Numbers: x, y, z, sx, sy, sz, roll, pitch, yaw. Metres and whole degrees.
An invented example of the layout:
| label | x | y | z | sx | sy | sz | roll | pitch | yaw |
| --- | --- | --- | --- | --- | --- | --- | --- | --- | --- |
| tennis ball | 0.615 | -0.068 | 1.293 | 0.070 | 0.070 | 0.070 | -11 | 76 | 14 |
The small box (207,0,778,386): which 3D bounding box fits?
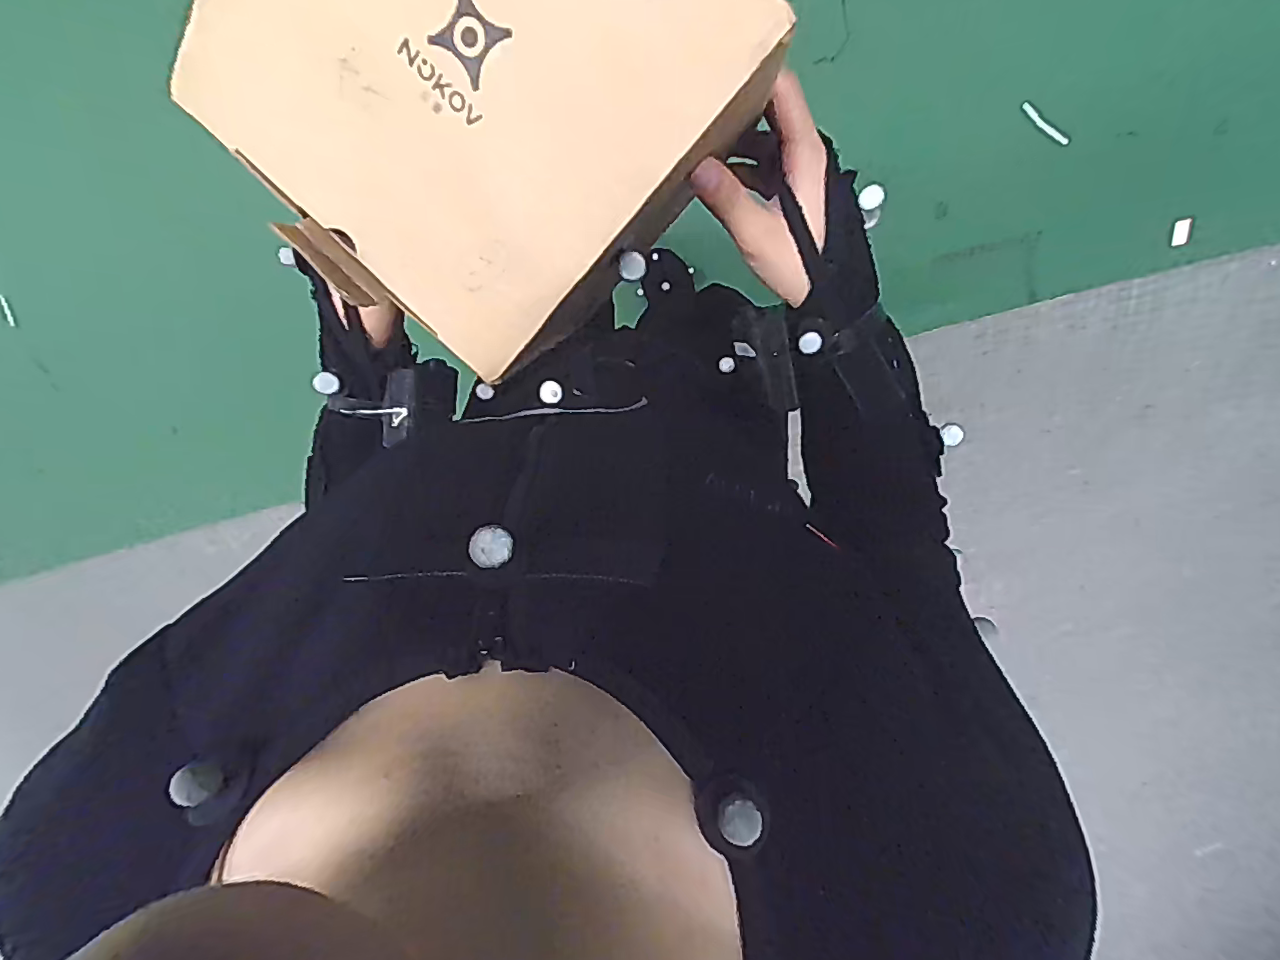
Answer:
| label | x | y | z | sx | sy | sz | roll | pitch | yaw |
| --- | --- | --- | --- | --- | --- | --- | --- | --- | --- |
| small box | -0.053 | -0.181 | 0.277 | 0.168 | 0.176 | 0.179 | 43 | 113 | -11 |
